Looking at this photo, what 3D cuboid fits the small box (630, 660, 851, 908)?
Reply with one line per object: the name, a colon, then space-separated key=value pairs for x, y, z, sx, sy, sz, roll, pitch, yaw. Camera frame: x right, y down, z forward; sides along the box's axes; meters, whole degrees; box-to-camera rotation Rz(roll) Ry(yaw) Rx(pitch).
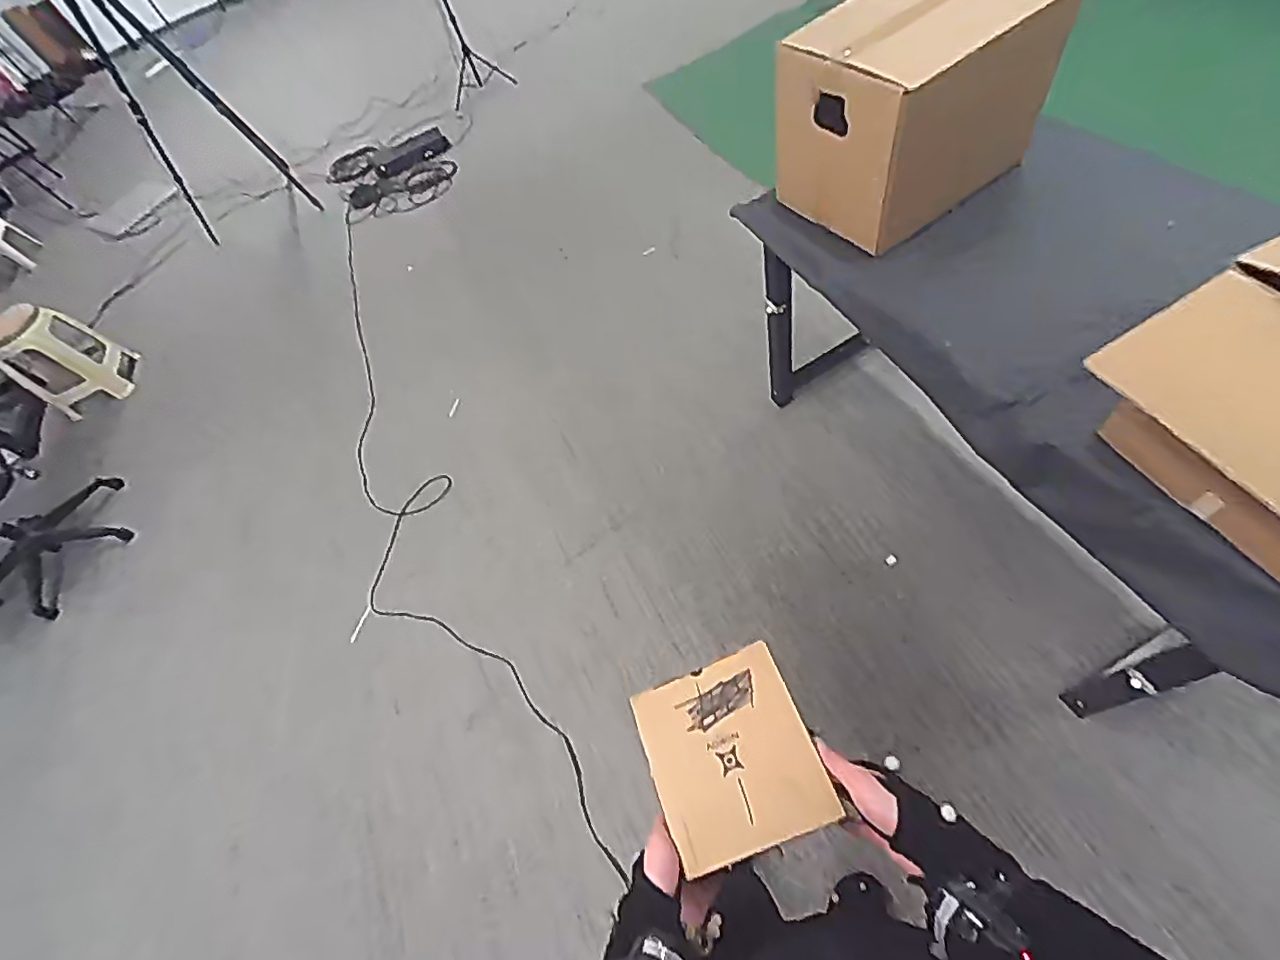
small box: x=0.110 y=0.326 z=0.594 sx=0.168 sy=0.176 sz=0.179 roll=-26 pitch=57 yaw=5
